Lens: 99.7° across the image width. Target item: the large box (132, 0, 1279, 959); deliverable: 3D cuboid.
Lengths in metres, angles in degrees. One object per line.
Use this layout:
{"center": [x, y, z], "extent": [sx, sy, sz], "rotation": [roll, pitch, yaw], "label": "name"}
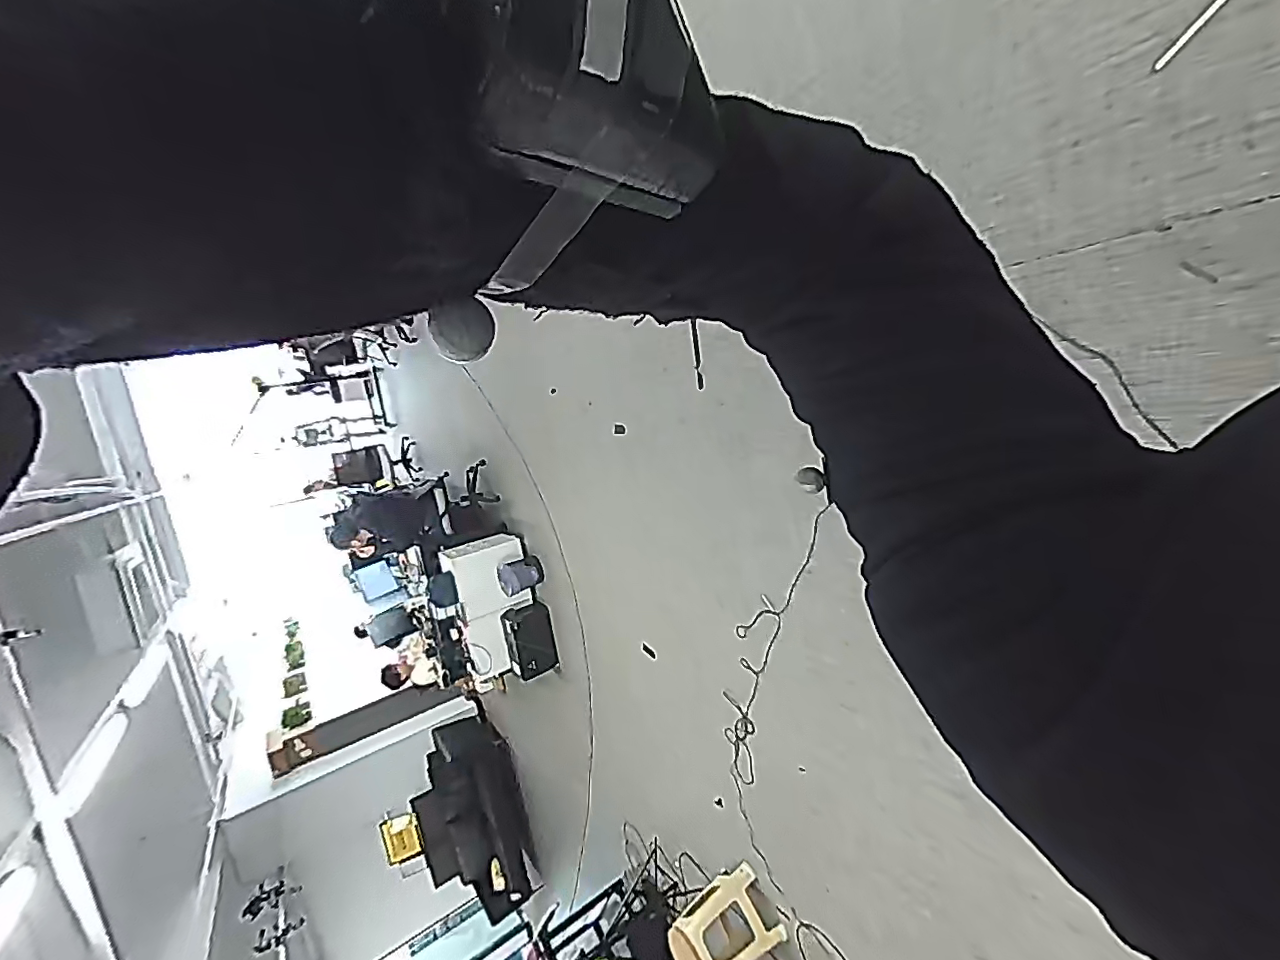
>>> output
{"center": [0.121, 0.054, 0.155], "extent": [0.408, 0.320, 0.320], "rotation": [15, -113, 53], "label": "large box"}
